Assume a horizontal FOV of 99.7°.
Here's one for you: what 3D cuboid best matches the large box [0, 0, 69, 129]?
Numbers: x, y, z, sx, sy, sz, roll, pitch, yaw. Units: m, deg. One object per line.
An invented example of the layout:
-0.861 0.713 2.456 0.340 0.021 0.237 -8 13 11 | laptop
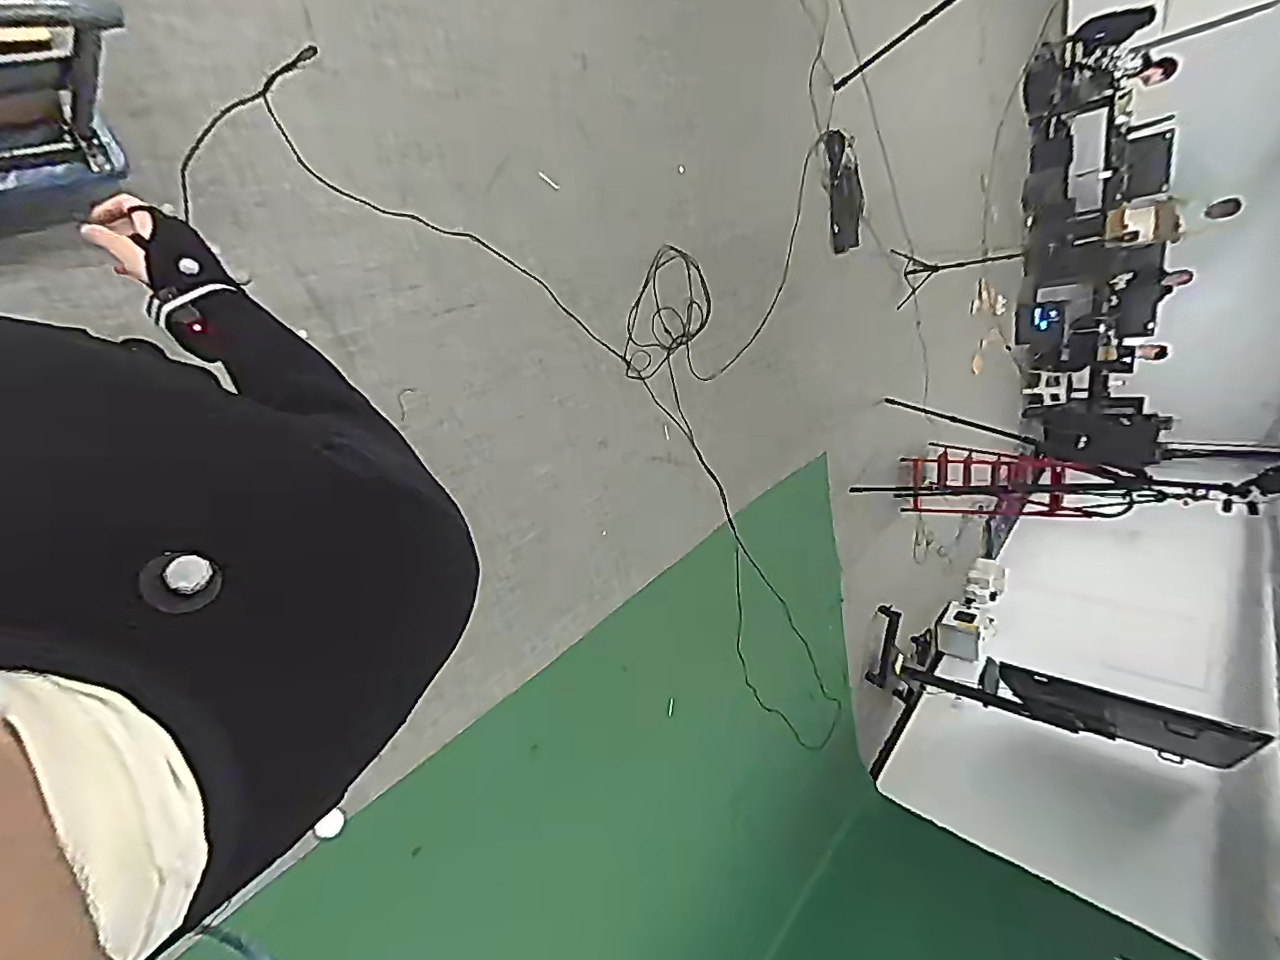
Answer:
-1.104 -0.729 0.718 0.320 0.320 0.408 -39 121 -34 | large box
